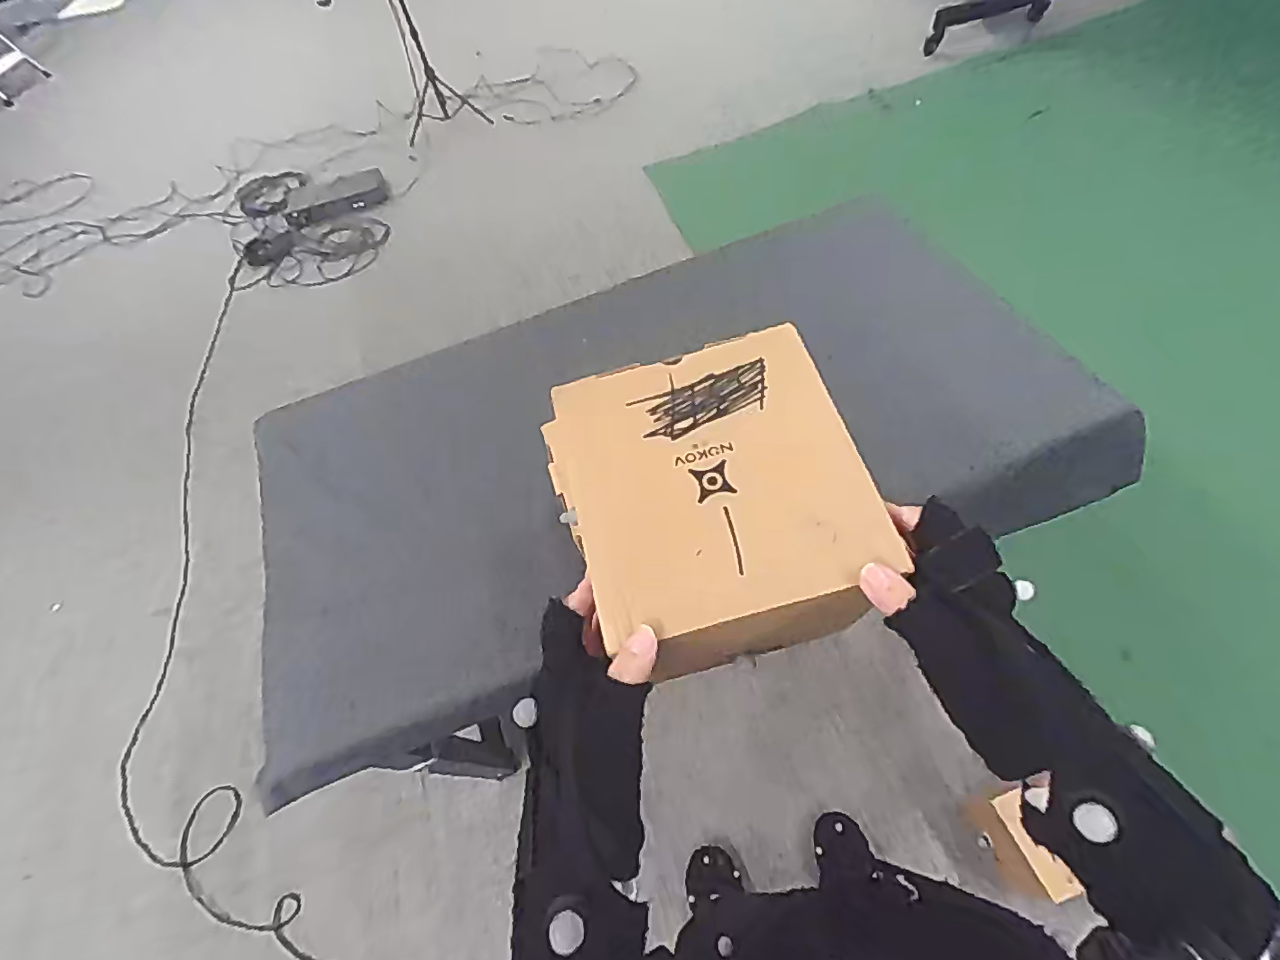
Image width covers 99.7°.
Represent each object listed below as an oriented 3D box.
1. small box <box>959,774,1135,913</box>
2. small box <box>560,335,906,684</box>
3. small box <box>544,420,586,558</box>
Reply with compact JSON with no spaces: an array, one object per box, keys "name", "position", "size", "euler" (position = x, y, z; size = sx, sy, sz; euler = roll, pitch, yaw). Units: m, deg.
[{"name":"small box","position":[0.757,0.684,1.032],"size":[0.179,0.176,0.168],"euler":[-21,57,-4]},{"name":"small box","position":[0.051,0.032,0.388],"size":[0.168,0.176,0.179],"euler":[-14,63,1]},{"name":"small box","position":[-0.002,0.016,0.683],"size":[0.179,0.176,0.168],"euler":[-19,57,-4]}]
